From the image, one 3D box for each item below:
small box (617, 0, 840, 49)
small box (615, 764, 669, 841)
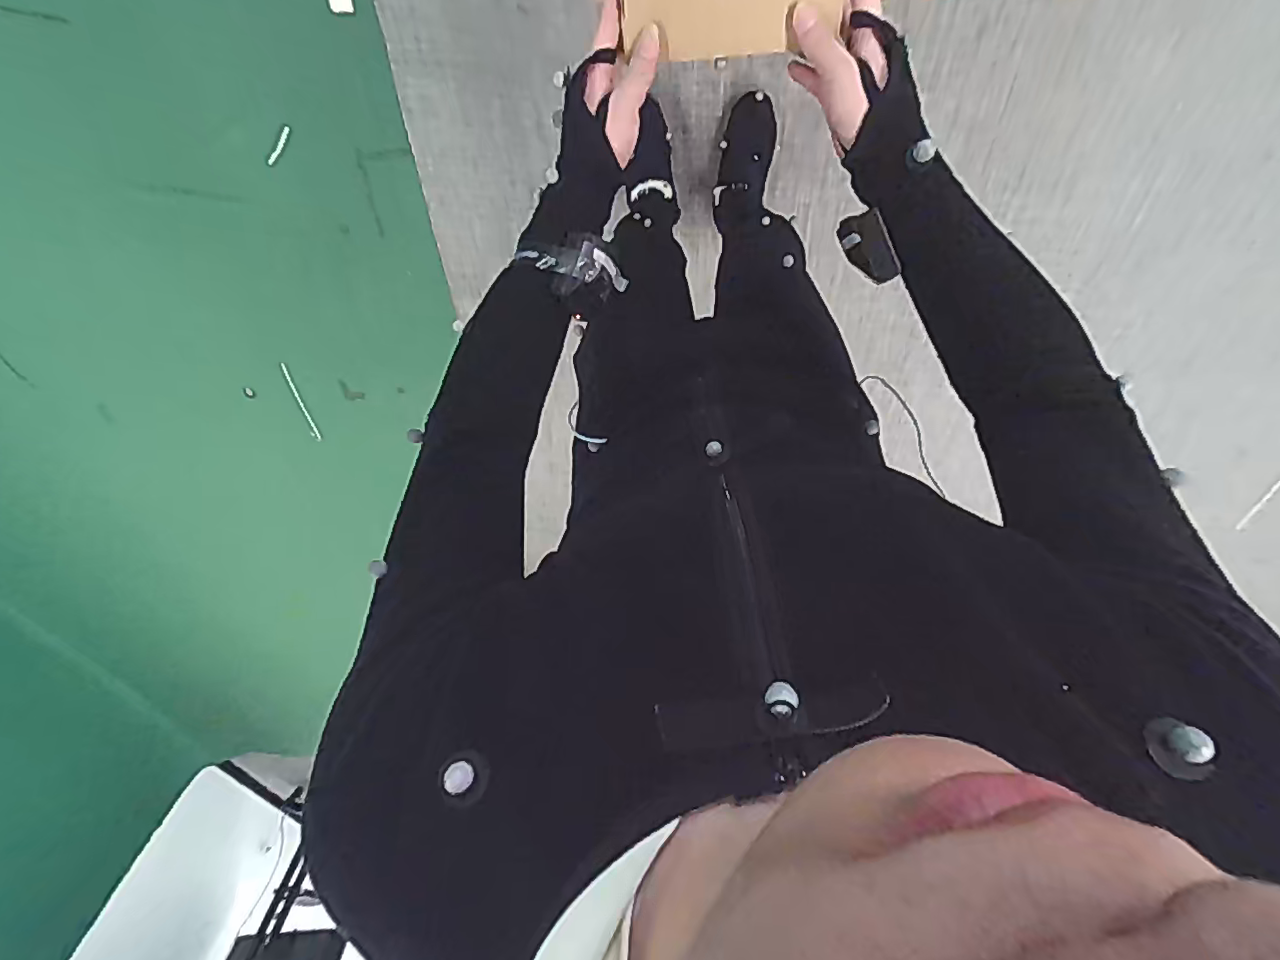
[{"bbox_3d":[0.072,-0.470,0.439,0.179,0.176,0.168,0,136,6],"label":"small box"},{"bbox_3d":[0.010,1.075,1.803,0.168,0.176,0.179,3,131,5],"label":"small box"}]
